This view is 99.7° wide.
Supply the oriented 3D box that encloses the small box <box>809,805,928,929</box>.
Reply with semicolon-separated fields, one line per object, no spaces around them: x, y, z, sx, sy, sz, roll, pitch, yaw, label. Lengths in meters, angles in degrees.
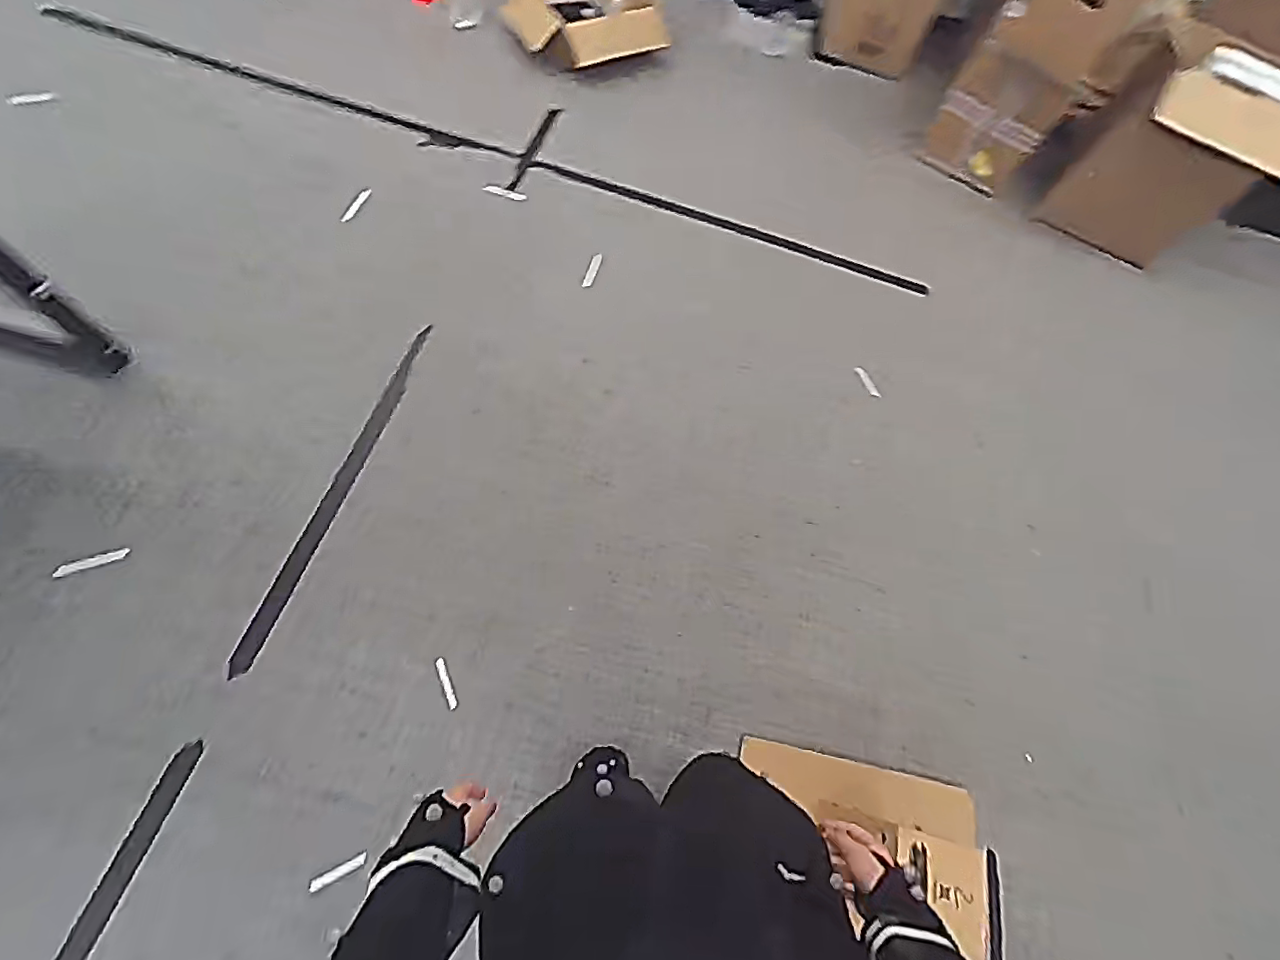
0.493;0.832;1.183;0.179;0.176;0.168;20;66;-2;small box
